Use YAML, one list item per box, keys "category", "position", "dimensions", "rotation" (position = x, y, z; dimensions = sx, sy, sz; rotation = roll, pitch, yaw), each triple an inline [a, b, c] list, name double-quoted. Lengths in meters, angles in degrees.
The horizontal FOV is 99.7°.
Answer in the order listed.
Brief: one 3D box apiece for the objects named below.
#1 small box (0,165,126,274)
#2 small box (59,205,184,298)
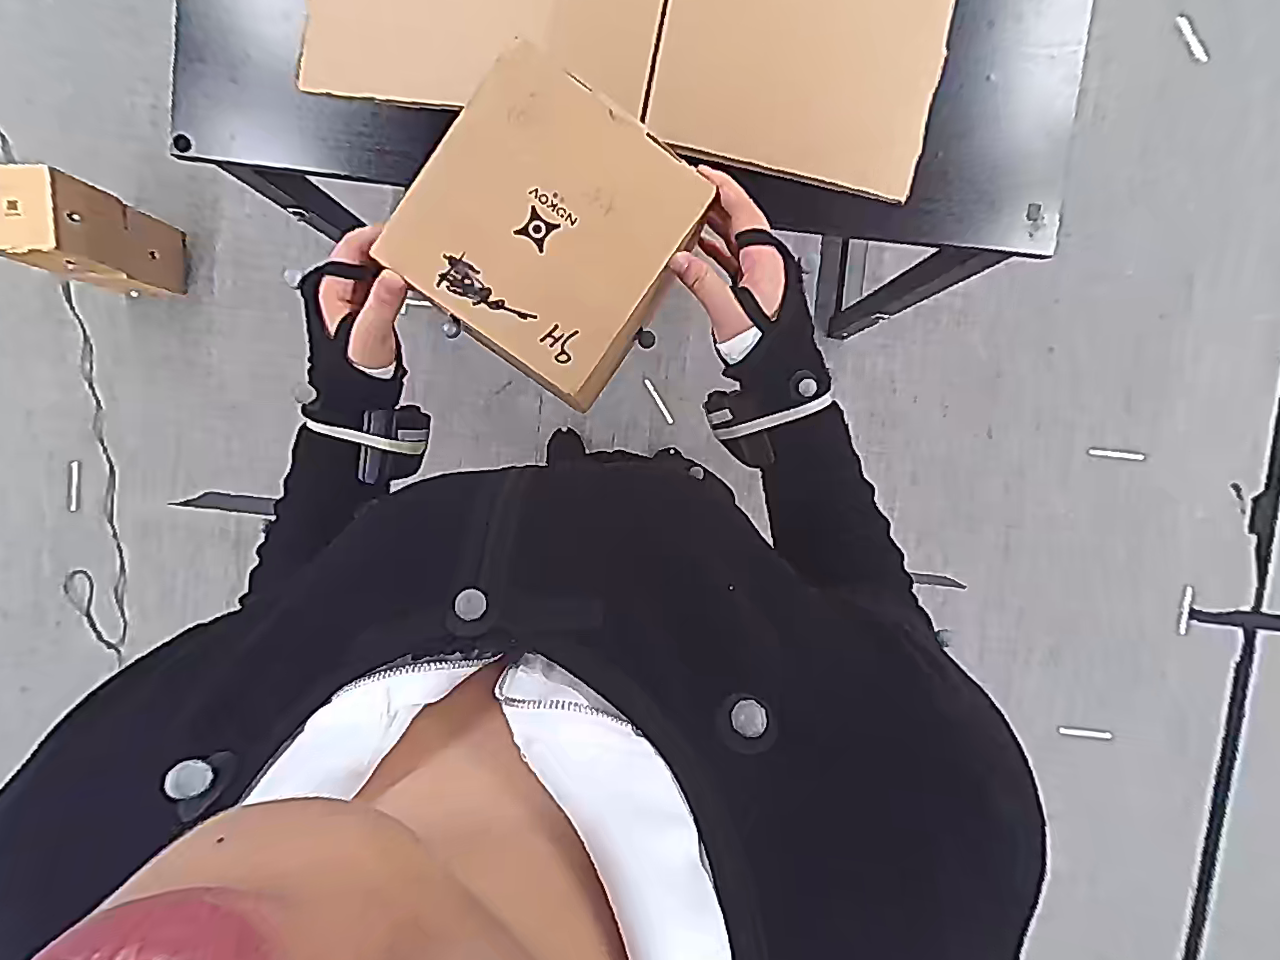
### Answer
- category: "small box"
  position: [-1.299, -0.568, 1.200]
  dimensions: [0.168, 0.176, 0.179]
  rotation: [-1, 93, -1]
- category: "small box"
  position: [-1.298, -0.574, 1.363]
  dimensions: [0.168, 0.176, 0.179]
  rotation: [2, 95, 0]
